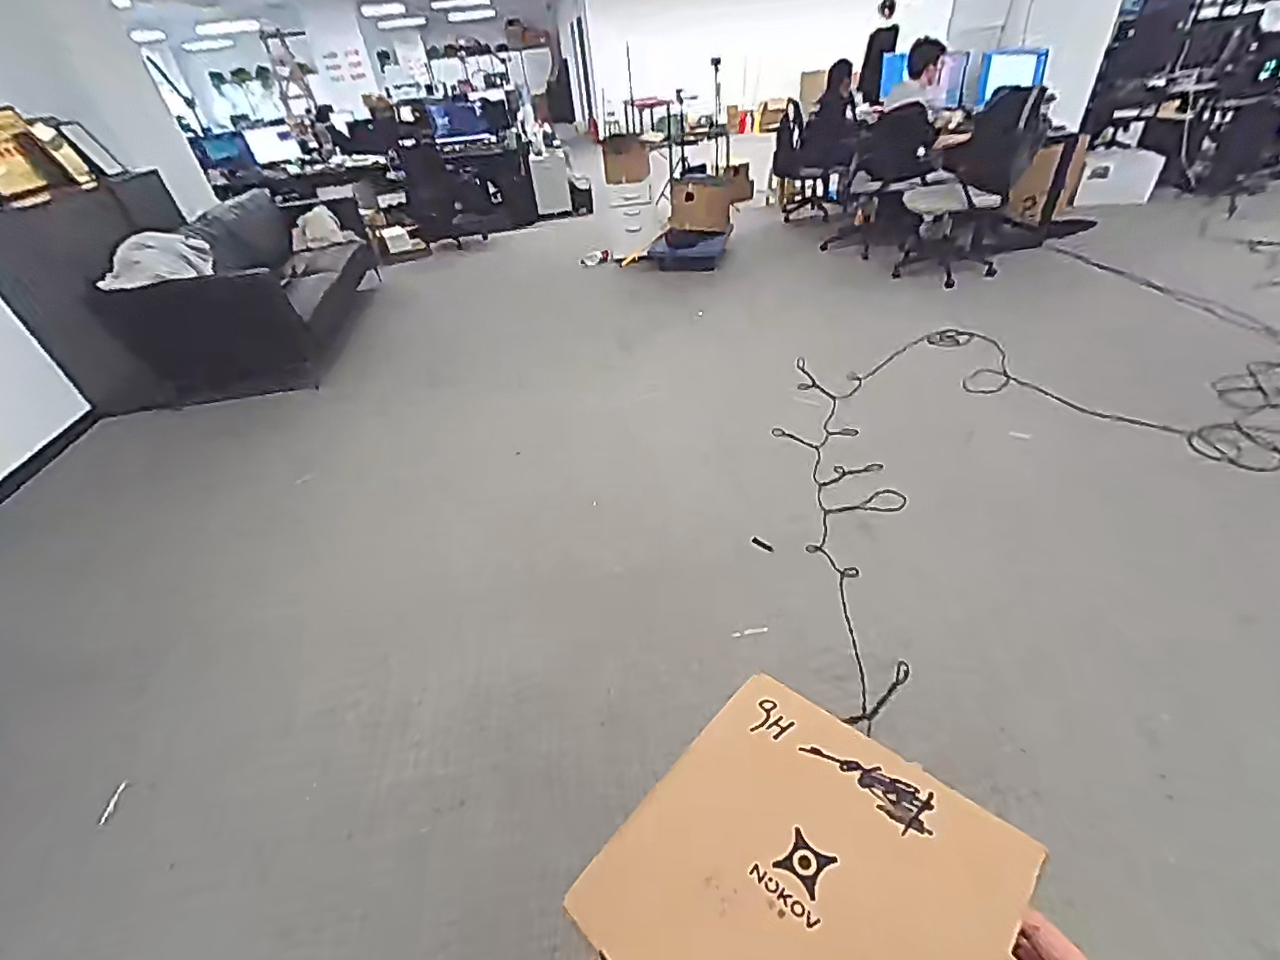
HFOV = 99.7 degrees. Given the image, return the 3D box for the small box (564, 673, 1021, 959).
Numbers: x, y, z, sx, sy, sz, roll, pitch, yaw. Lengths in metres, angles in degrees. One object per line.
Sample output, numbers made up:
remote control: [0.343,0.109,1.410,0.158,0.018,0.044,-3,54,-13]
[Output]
small box: [0.089,0.263,0.318,0.168,0.176,0.179,22,48,41]
